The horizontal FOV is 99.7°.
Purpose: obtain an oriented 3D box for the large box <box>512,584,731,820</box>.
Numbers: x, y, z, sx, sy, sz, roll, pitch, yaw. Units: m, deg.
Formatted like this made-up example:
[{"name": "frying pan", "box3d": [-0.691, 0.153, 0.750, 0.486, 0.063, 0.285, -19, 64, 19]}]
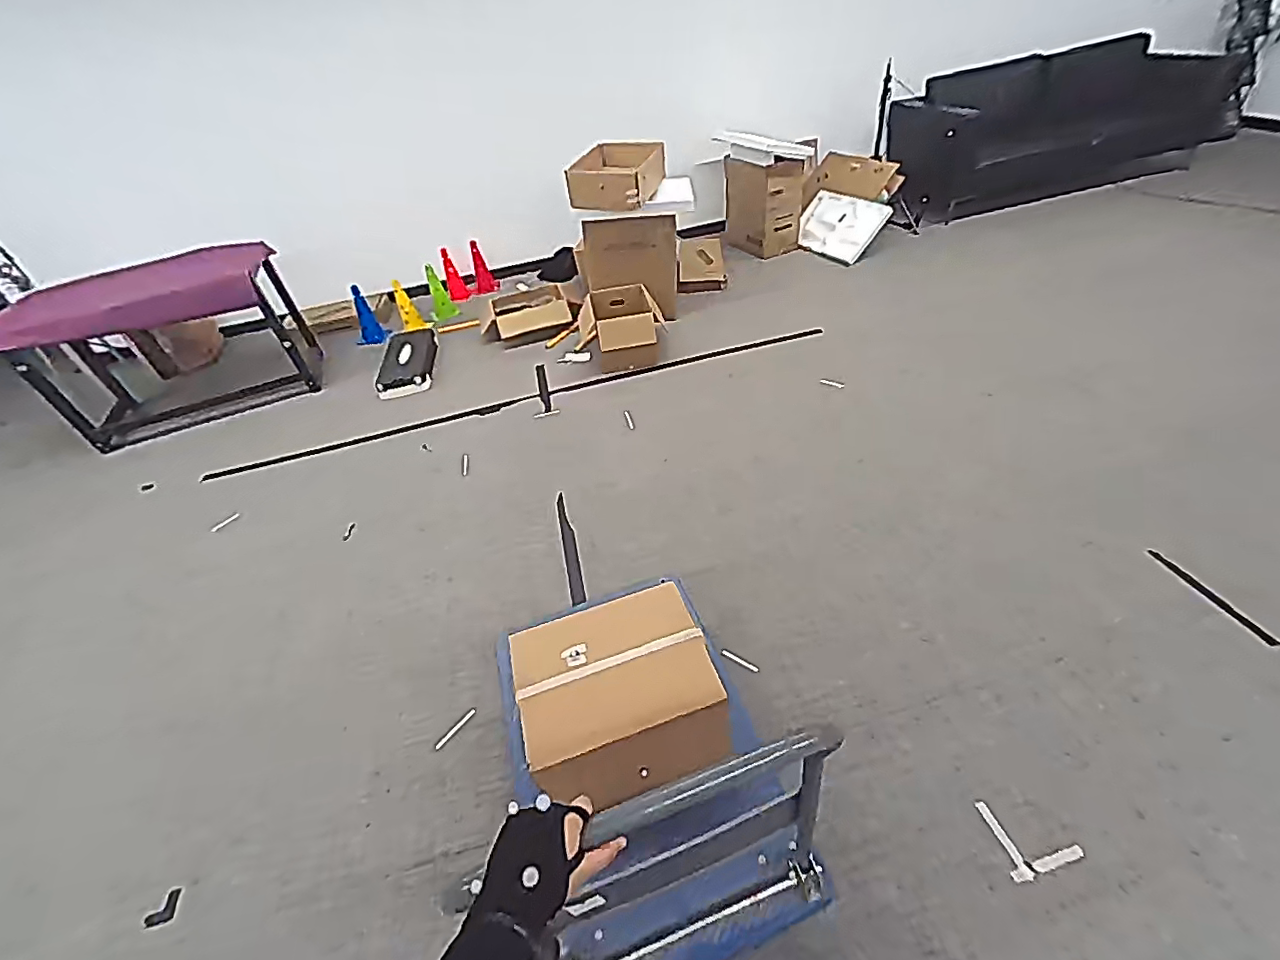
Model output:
[{"name": "large box", "box3d": [-0.039, 0.509, 1.254, 0.408, 0.320, 0.320, -19, 41, -8]}]
